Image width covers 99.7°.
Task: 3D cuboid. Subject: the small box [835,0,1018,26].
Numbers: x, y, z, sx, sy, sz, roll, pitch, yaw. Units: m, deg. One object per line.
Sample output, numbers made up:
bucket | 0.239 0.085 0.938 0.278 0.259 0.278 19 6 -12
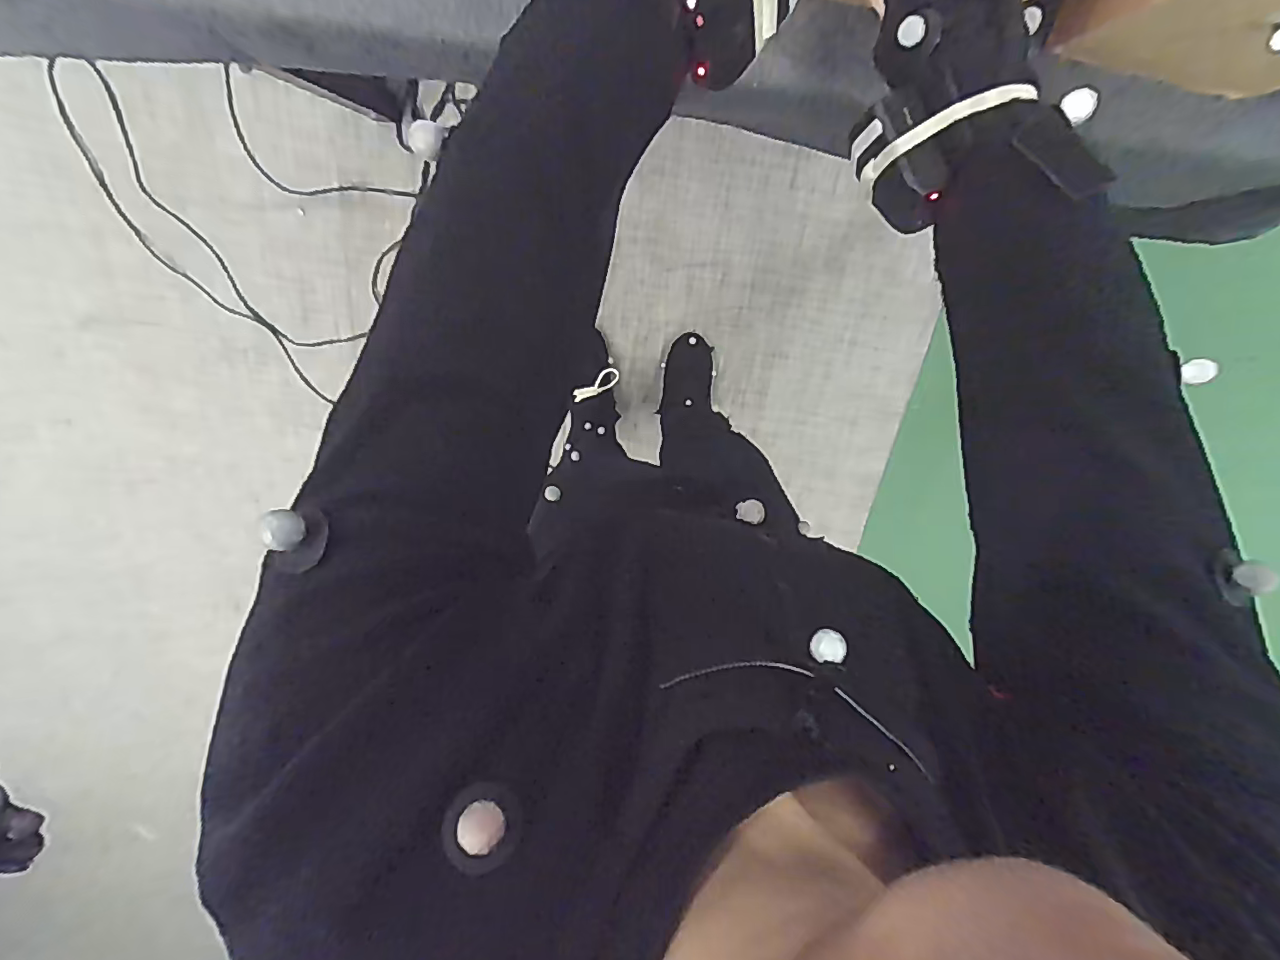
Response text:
small box | 0.204 -0.416 0.328 0.179 0.176 0.168 10 113 -2
